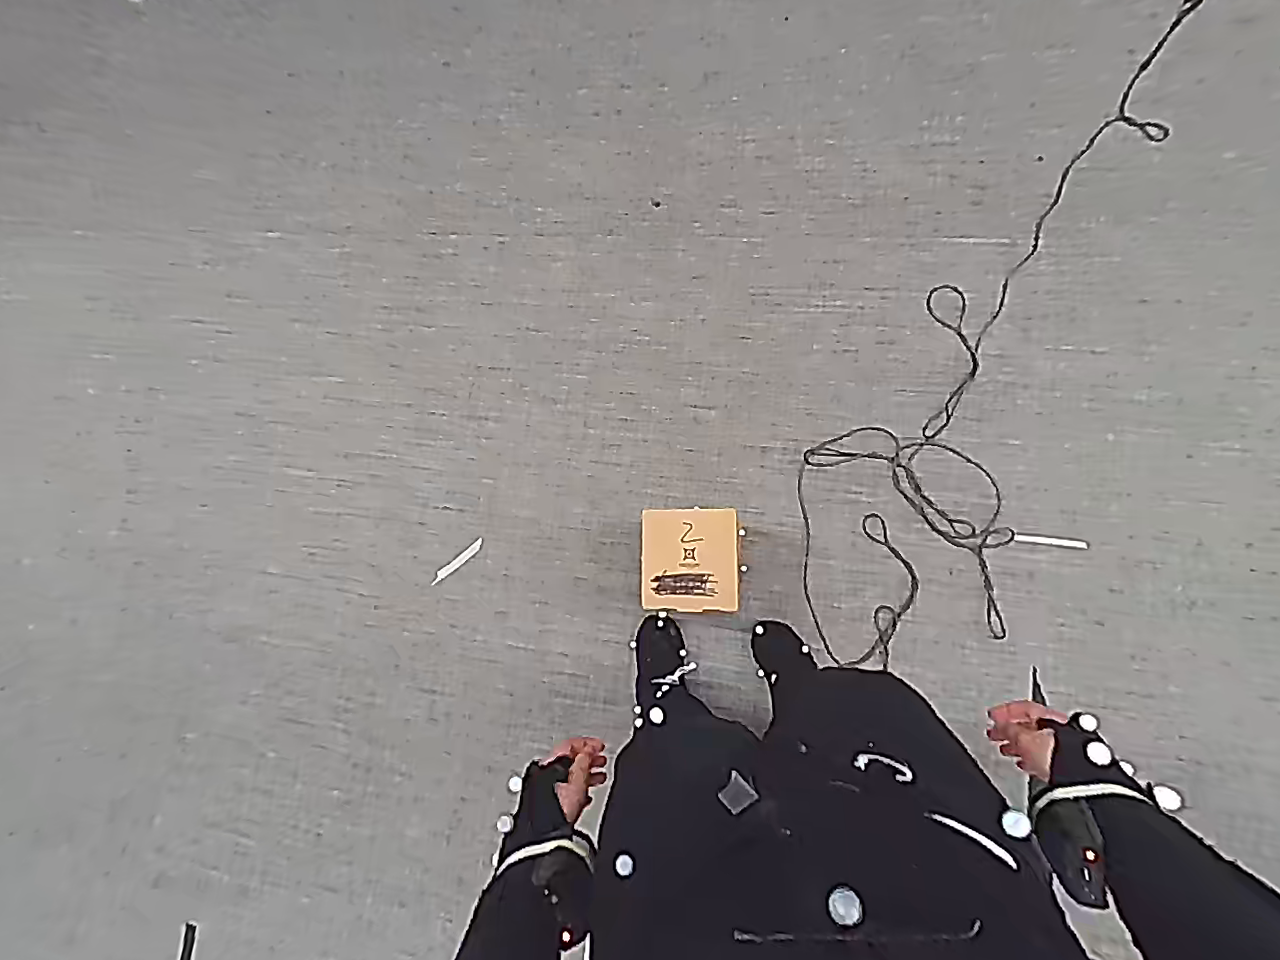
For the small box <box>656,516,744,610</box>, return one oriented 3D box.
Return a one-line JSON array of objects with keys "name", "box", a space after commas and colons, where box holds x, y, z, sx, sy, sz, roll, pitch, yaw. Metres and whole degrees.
[{"name": "small box", "box": [0.135, 0.176, 1.162, 0.168, 0.176, 0.179, 4, 82, 10]}]
